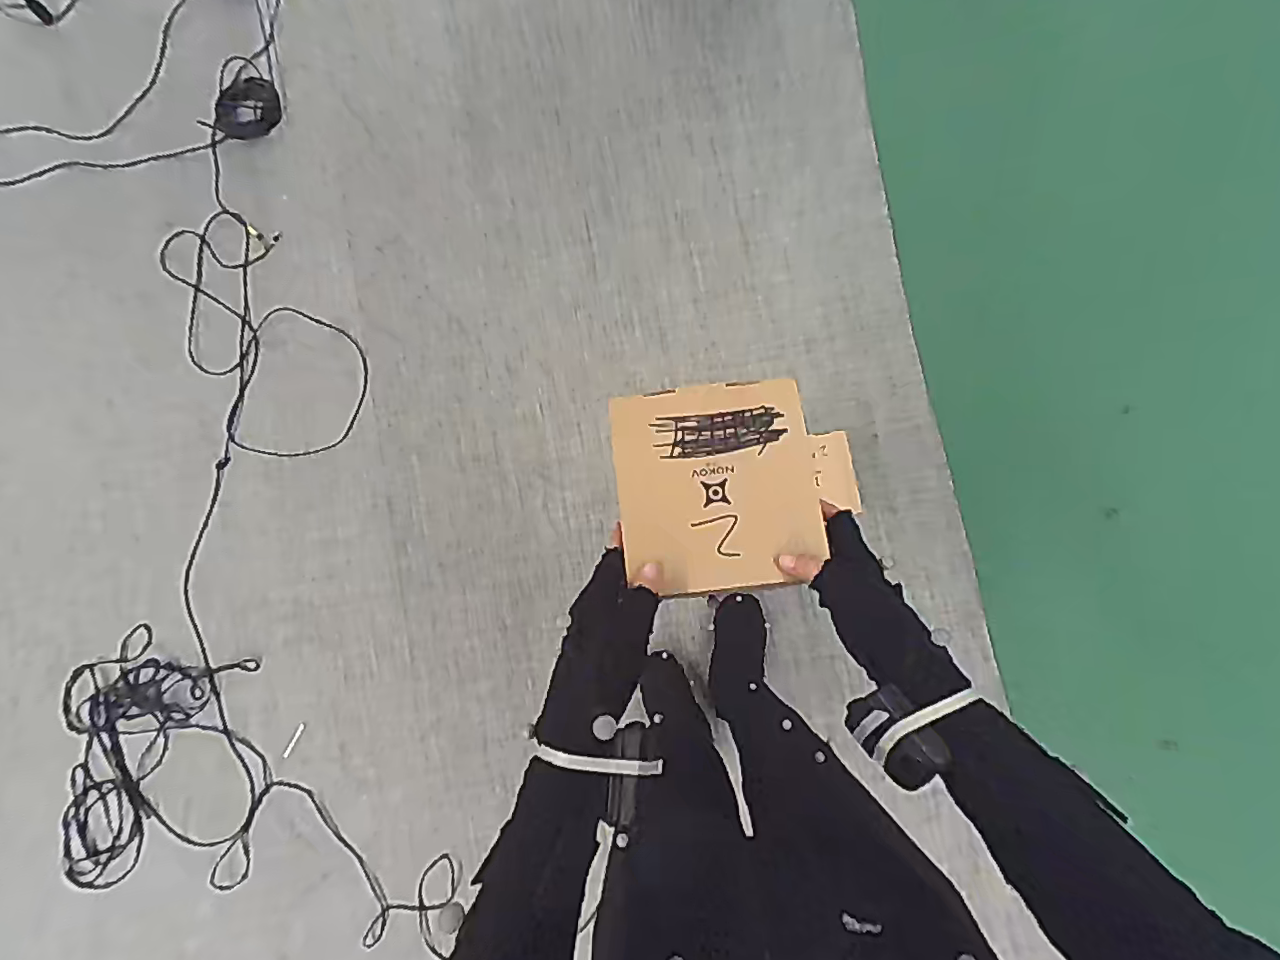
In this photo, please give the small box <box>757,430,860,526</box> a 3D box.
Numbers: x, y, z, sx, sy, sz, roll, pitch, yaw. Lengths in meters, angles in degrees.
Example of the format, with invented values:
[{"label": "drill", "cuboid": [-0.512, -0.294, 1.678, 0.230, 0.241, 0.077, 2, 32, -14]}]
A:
[{"label": "small box", "cuboid": [0.359, 0.000, 1.178, 0.168, 0.176, 0.179, -10, 85, 4]}]
